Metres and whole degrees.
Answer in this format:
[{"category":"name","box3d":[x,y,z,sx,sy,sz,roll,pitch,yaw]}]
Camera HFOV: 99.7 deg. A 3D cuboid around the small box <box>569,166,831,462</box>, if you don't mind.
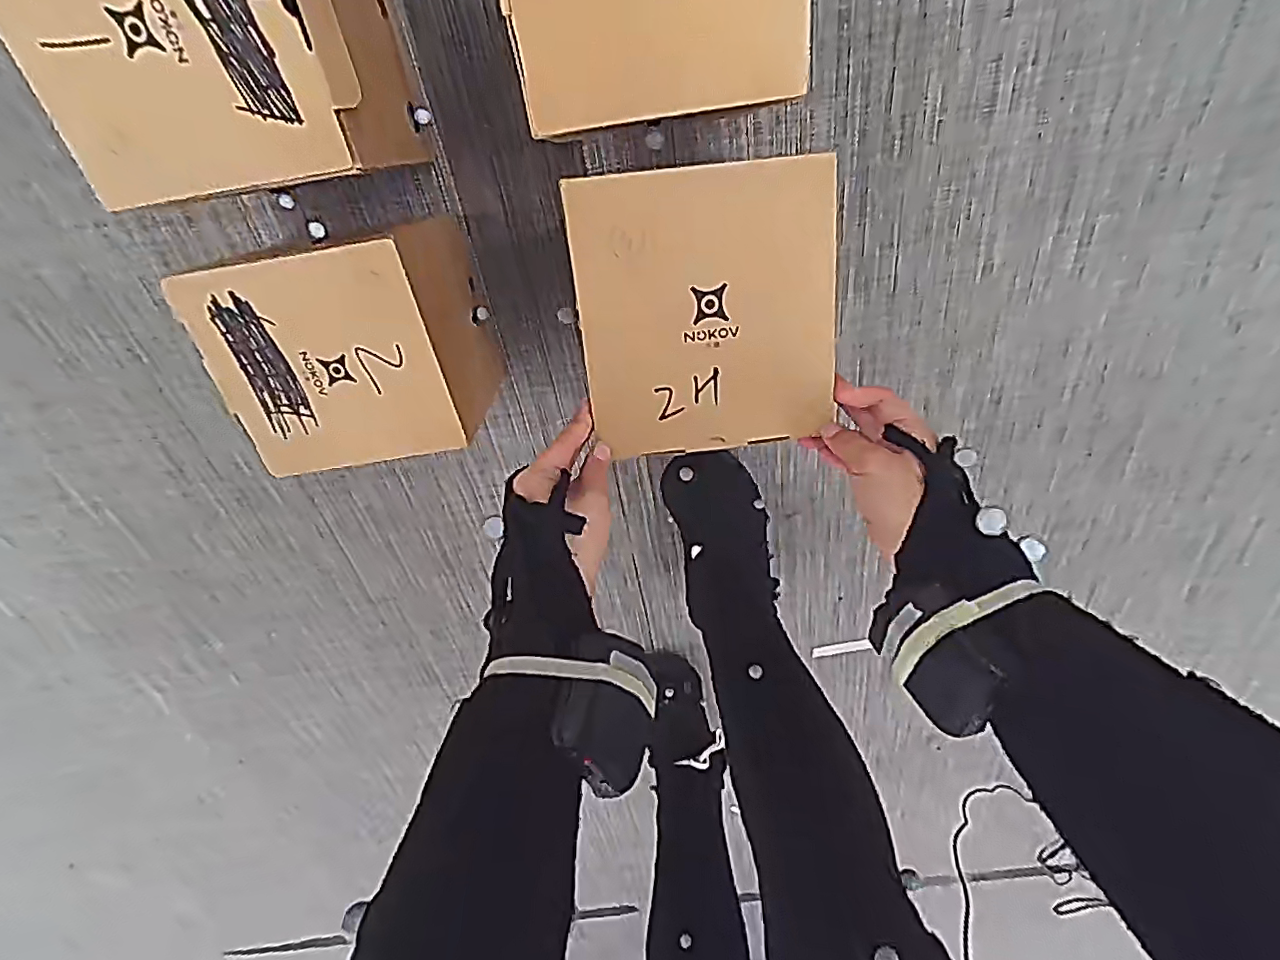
[{"category":"small box","box3d":[0.039,-0.127,0.430,0.168,0.176,0.179,-7,109,-1]}]
